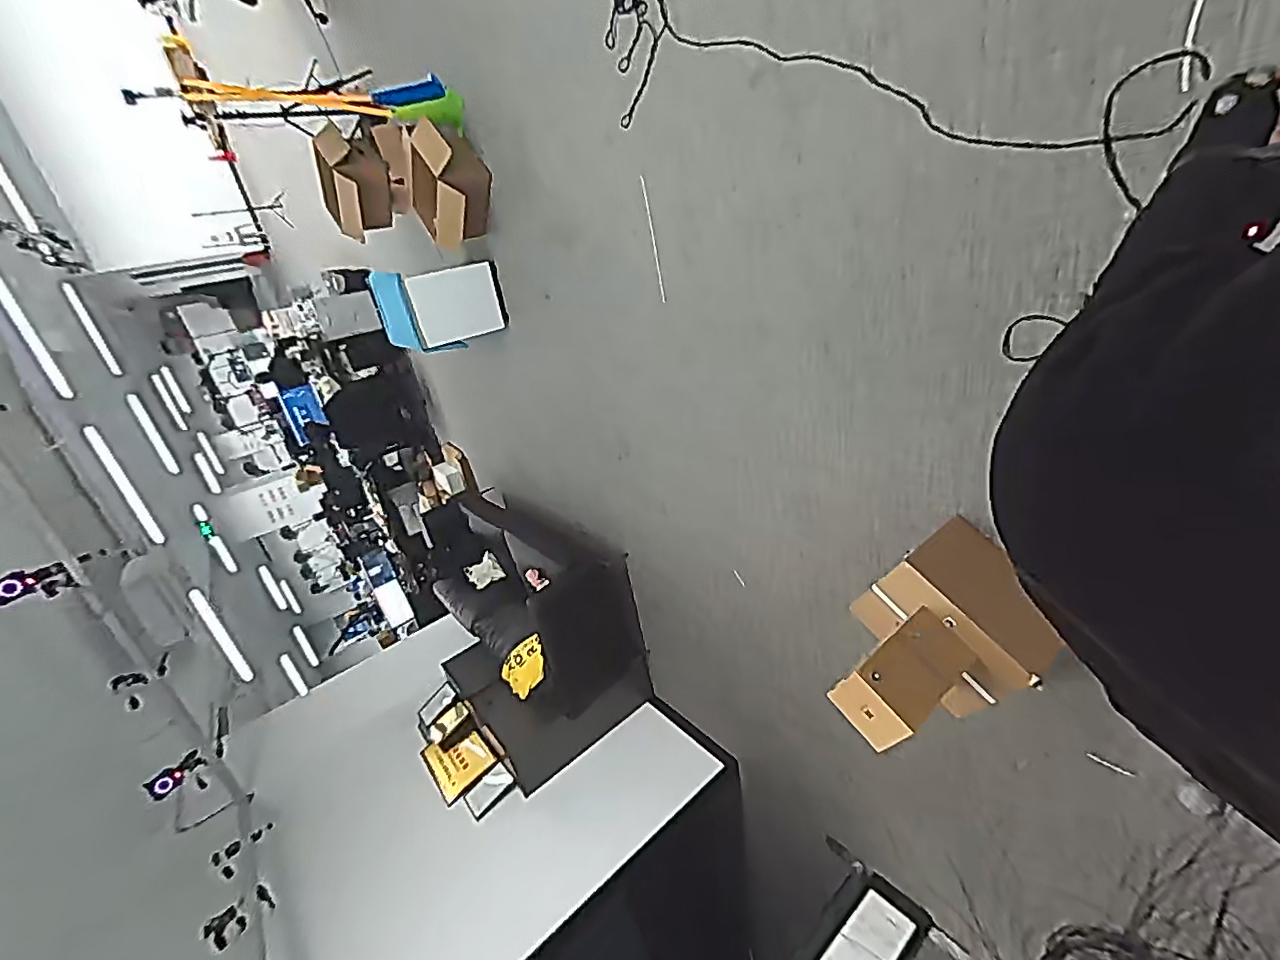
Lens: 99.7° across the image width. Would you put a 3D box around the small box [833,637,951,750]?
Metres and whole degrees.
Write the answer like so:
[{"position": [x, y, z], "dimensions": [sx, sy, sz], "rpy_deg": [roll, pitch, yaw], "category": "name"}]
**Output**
[{"position": [0.631, 0.531, 1.356], "dimensions": [0.179, 0.176, 0.168], "rpy_deg": [48, 146, 26], "category": "small box"}]
